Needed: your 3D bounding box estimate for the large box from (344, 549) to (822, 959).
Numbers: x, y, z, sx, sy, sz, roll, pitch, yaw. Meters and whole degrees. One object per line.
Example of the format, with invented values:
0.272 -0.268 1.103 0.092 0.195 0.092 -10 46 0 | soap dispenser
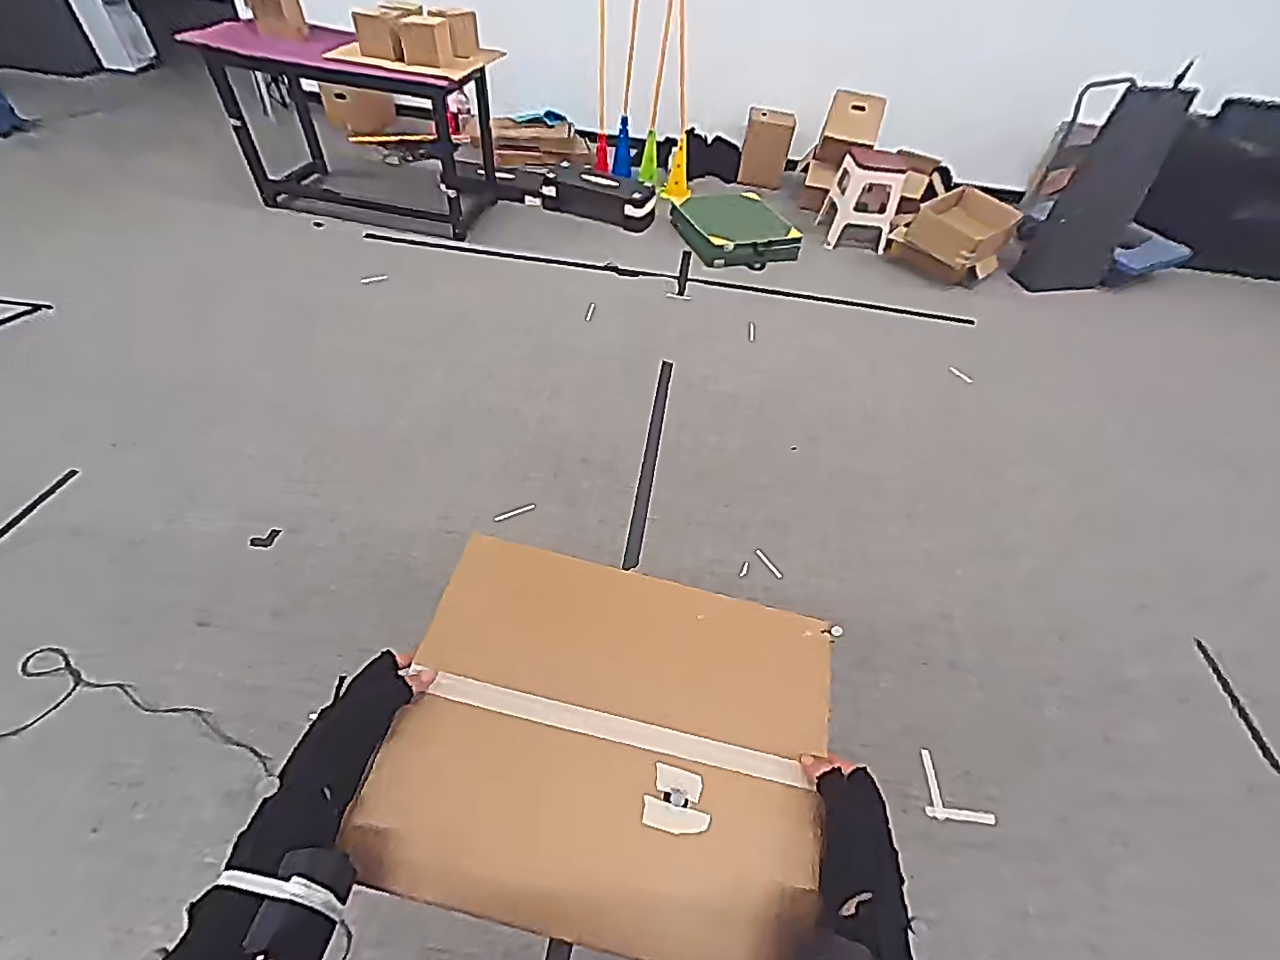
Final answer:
-0.041 0.323 0.641 0.408 0.320 0.320 14 57 1 | large box
